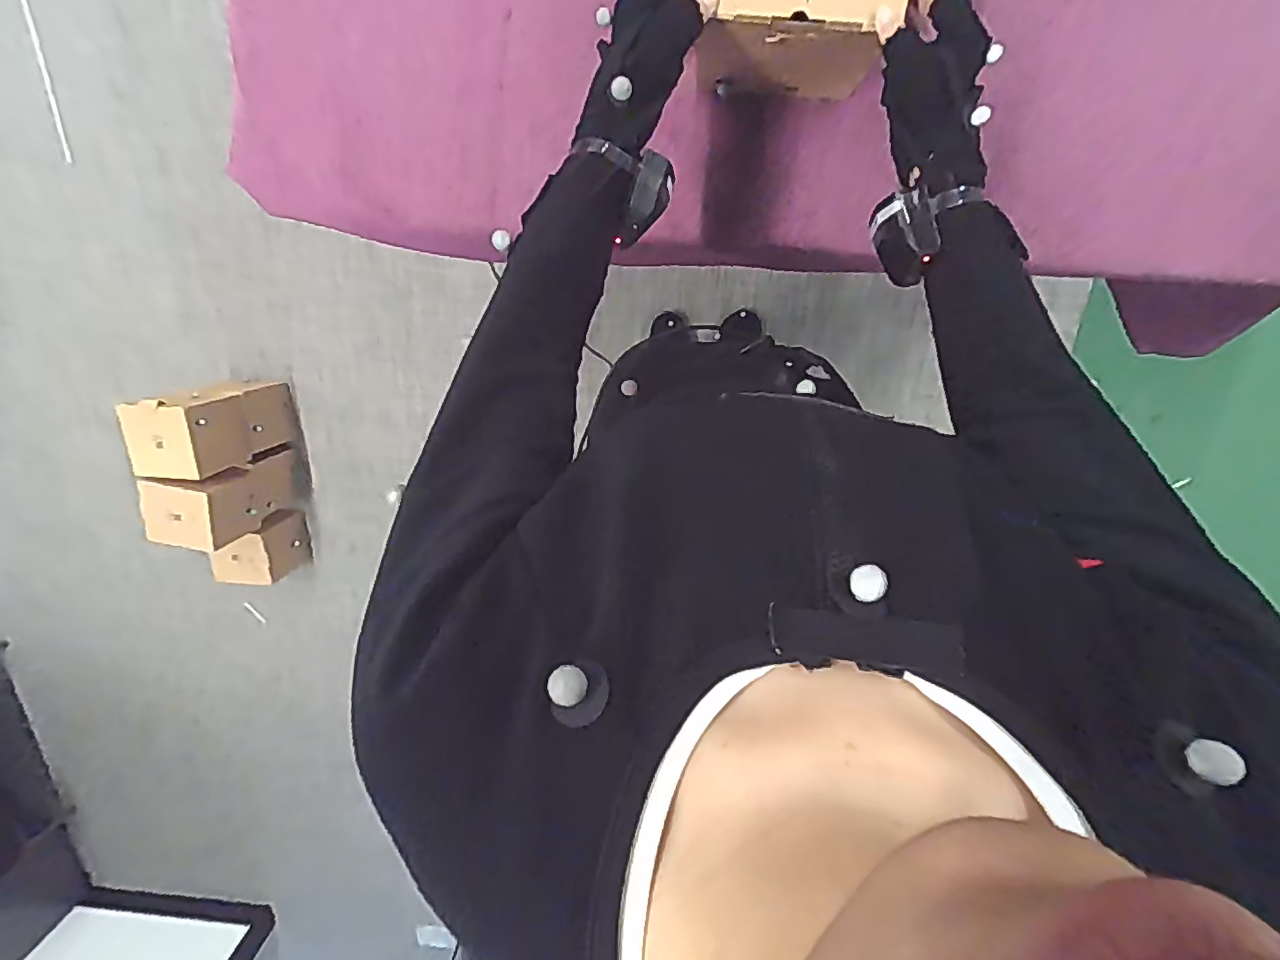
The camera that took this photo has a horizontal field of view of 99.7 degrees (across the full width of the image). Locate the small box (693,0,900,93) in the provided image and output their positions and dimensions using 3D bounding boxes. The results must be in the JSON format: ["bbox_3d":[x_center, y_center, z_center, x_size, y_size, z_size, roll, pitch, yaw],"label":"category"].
[{"bbox_3d":[0.141,-0.480,0.487,0.168,0.176,0.179,7,109,3],"label":"small box"}]
